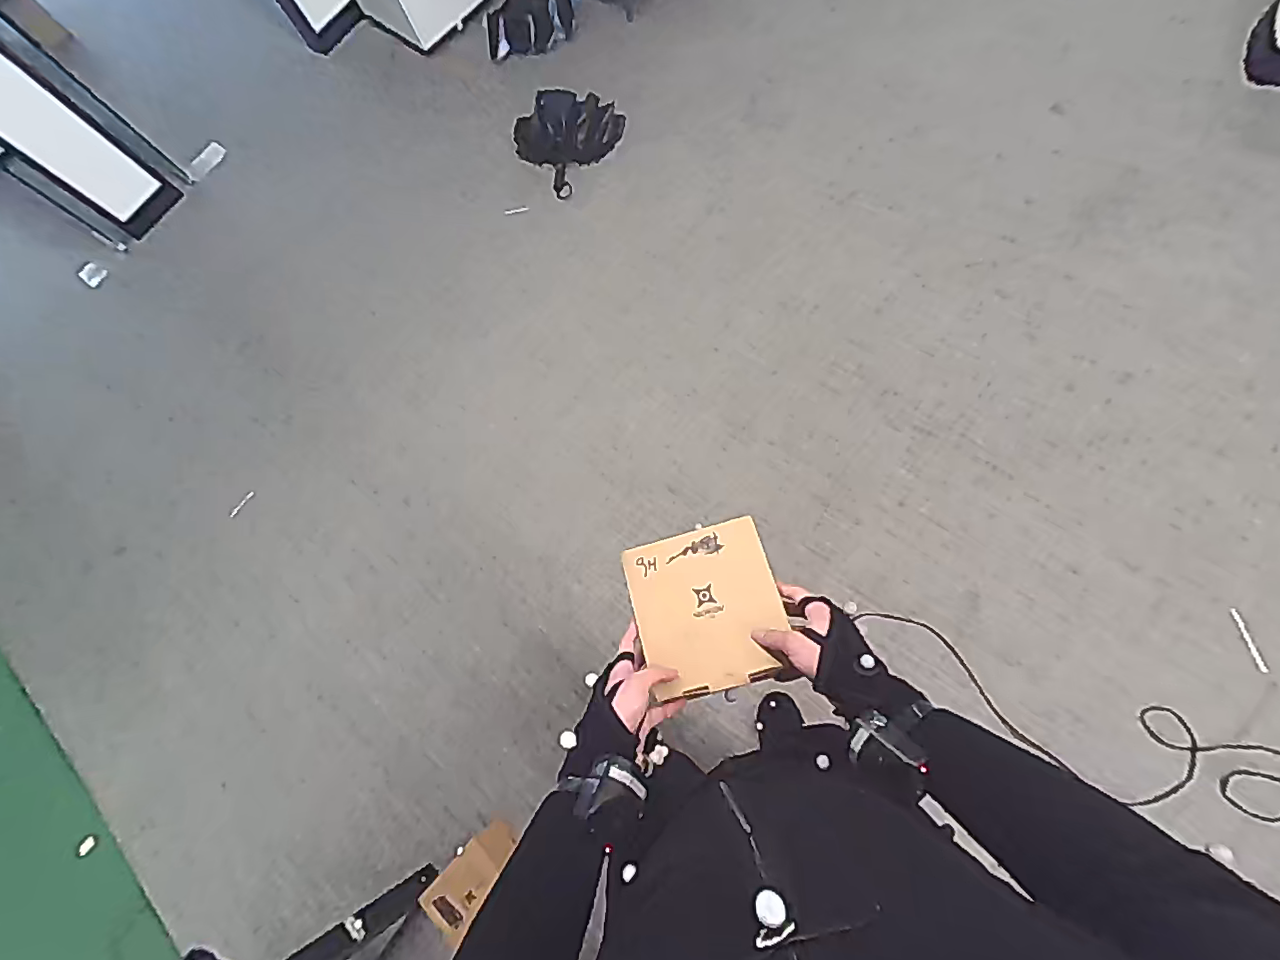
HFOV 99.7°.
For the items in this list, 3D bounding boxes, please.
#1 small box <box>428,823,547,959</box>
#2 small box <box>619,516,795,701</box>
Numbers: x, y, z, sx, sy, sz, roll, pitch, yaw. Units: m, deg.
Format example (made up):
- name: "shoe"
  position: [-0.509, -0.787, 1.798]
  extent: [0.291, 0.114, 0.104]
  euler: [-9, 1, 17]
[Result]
- name: "small box"
  position: [-0.348, 0.956, 1.269]
  extent: [0.168, 0.176, 0.179]
  euler: [40, 83, 21]
- name: "small box"
  position: [0.085, 0.169, 0.684]
  extent: [0.168, 0.176, 0.179]
  euler: [-16, 65, 4]
